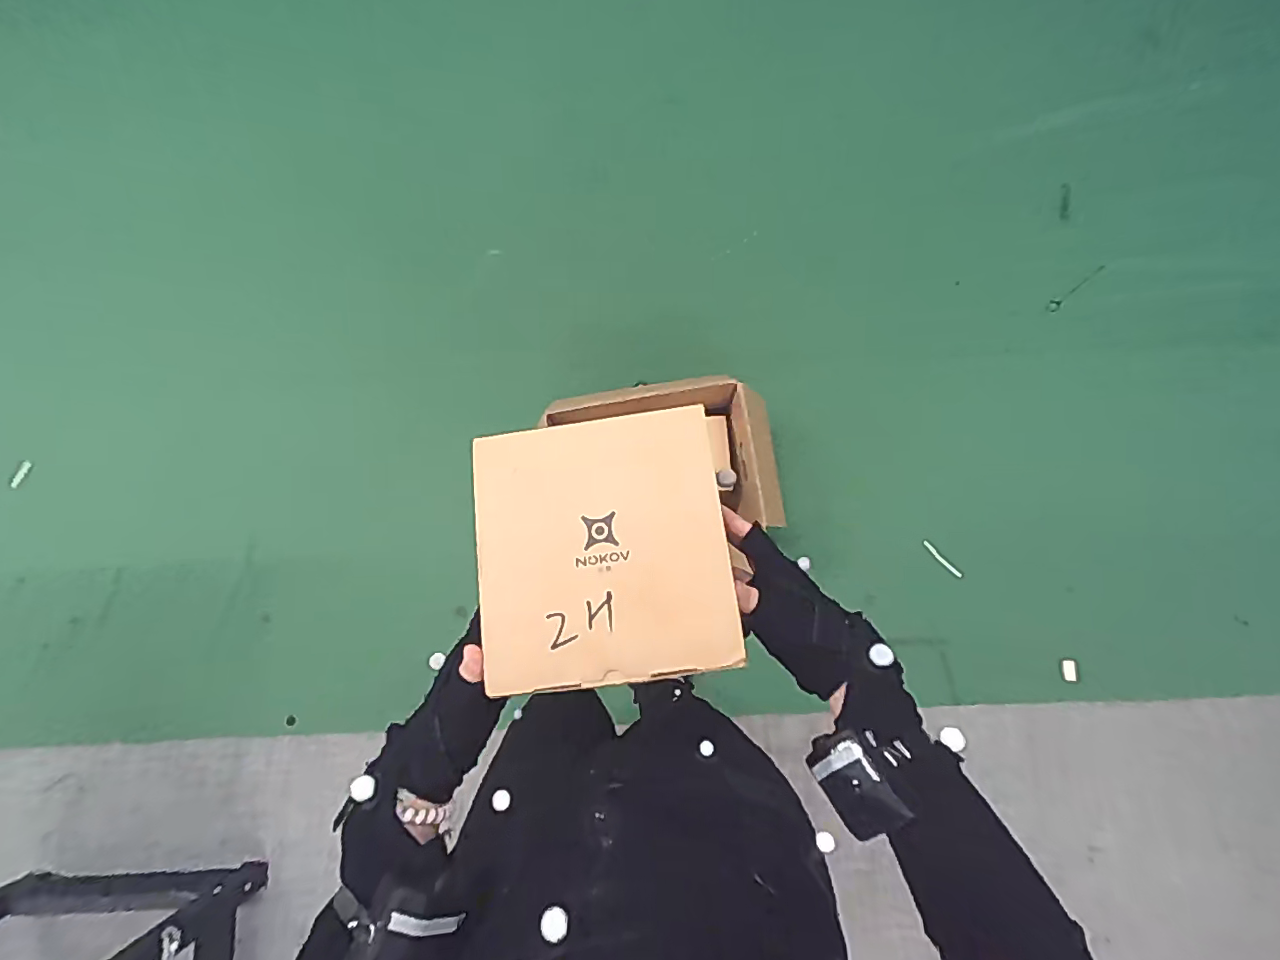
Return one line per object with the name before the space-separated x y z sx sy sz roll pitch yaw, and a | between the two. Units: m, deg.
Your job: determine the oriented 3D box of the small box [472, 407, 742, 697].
small box | -0.021 0.064 0.431 0.168 0.176 0.179 -9 74 4
